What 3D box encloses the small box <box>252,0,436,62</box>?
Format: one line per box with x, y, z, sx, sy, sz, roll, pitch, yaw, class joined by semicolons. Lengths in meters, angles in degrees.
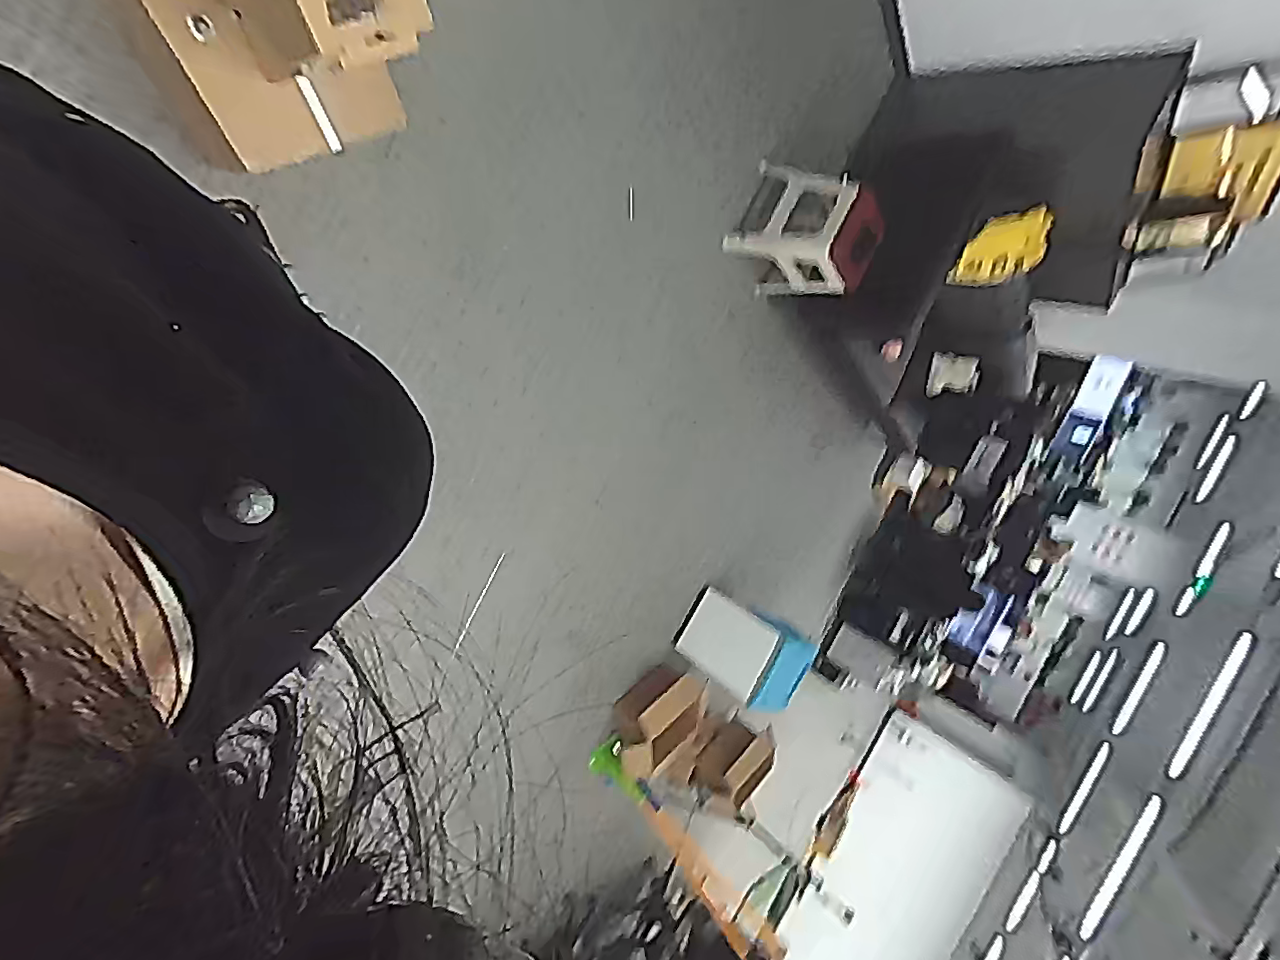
-0.402;-0.659;0.690;0.168;0.176;0.179;-40;136;-26;small box

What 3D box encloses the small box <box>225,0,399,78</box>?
-0.505;-0.724;0.803;0.168;0.176;0.179;-44;140;-24;small box
